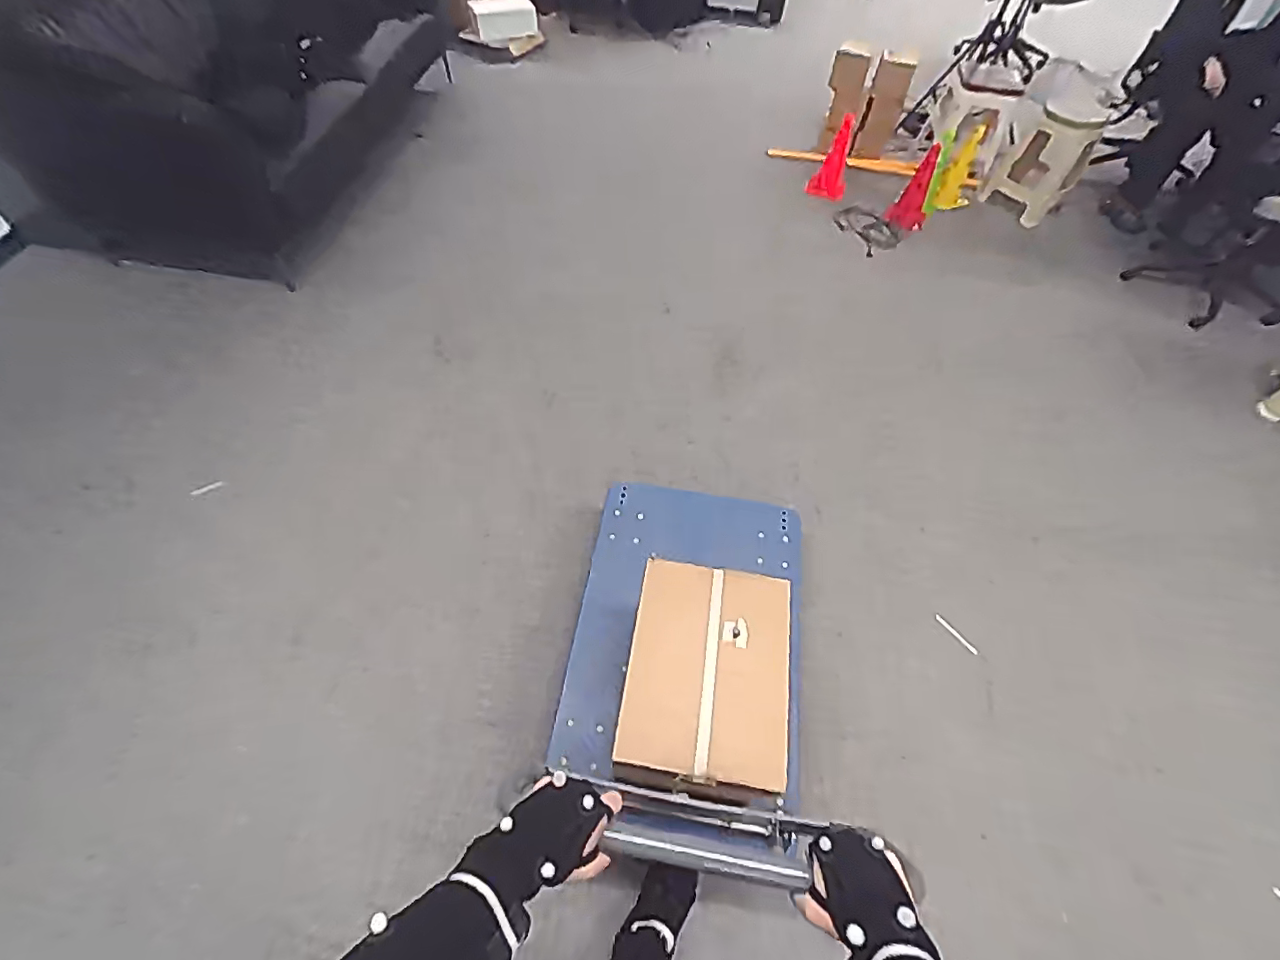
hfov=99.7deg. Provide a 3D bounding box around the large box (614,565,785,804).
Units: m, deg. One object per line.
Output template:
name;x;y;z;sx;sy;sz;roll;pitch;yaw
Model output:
large box;0.126;0.453;1.190;0.320;0.320;0.408;9;55;3
